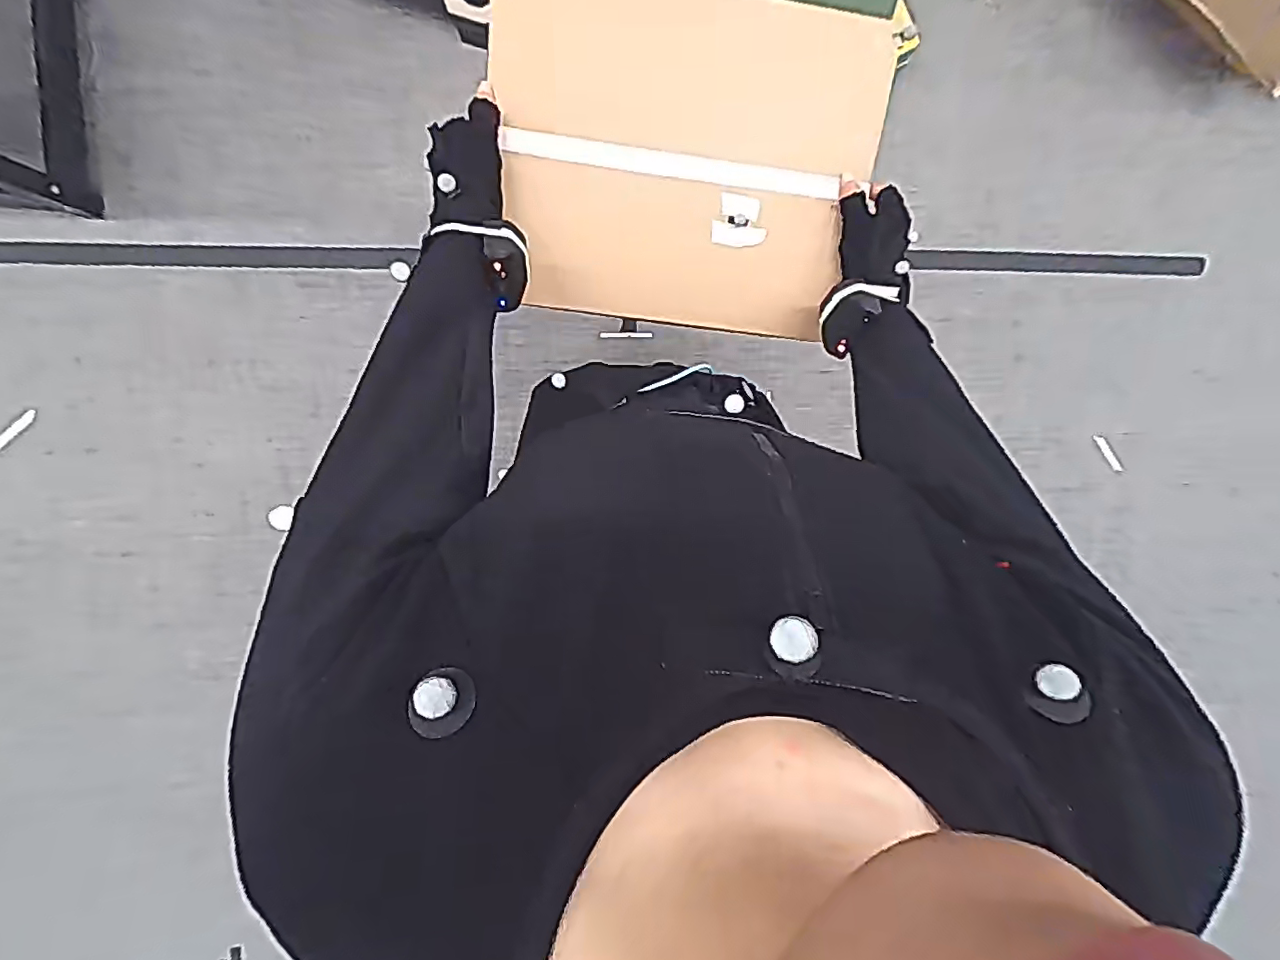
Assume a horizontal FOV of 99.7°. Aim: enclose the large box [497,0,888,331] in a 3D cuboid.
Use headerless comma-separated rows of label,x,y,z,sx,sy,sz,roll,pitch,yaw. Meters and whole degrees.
large box,0.035,-0.381,0.726,0.408,0.320,0.320,5,108,-7
